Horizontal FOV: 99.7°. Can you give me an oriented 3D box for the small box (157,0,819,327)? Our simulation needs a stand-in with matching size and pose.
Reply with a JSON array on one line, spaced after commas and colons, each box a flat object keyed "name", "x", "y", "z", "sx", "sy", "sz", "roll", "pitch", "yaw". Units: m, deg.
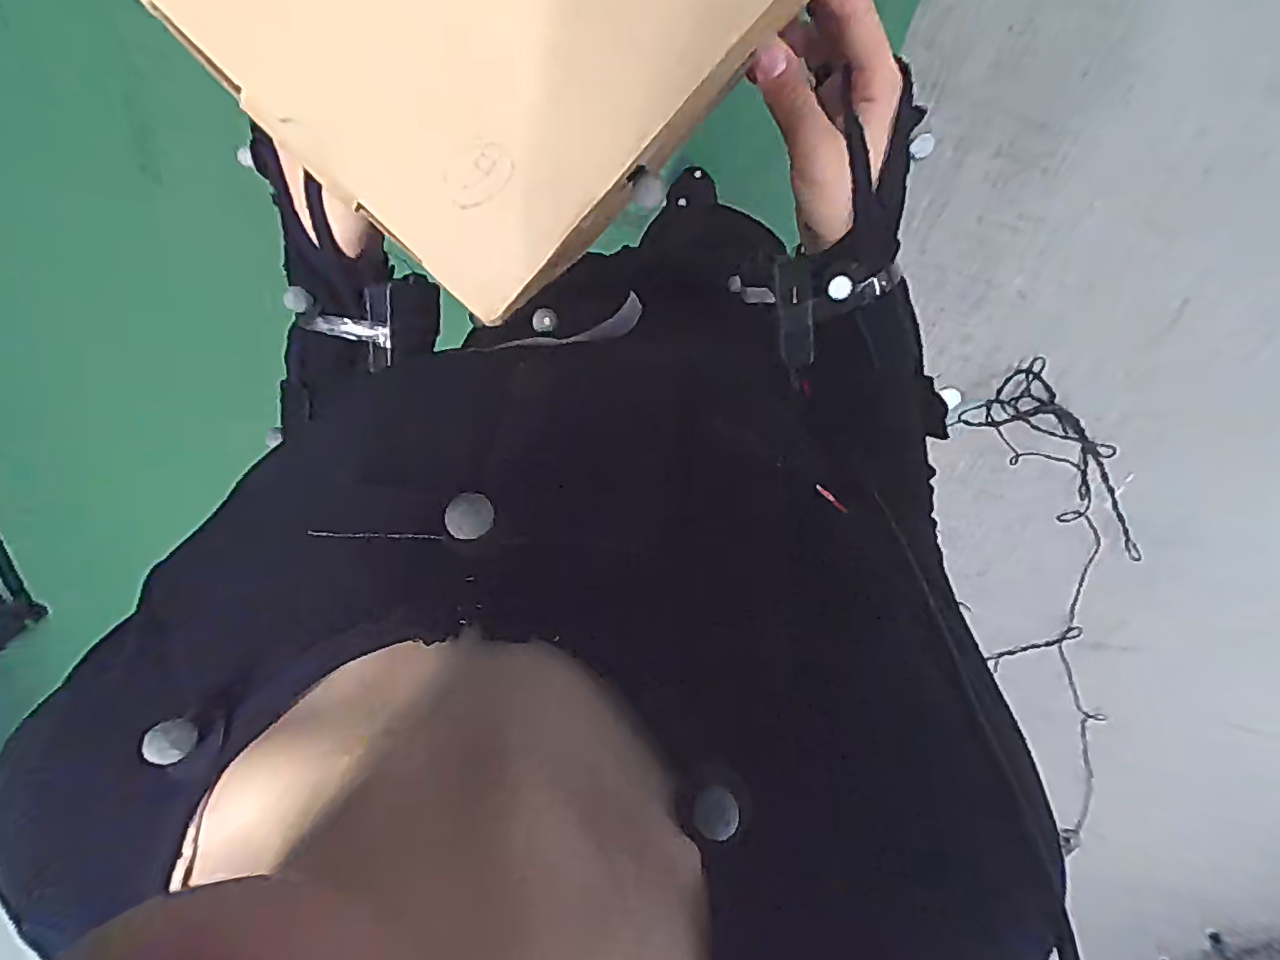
[{"name": "small box", "x": -0.039, "y": -0.197, "z": 0.219, "sx": 0.179, "sy": 0.176, "sz": 0.168, "roll": -38, "pitch": 109, "yaw": 24}]
